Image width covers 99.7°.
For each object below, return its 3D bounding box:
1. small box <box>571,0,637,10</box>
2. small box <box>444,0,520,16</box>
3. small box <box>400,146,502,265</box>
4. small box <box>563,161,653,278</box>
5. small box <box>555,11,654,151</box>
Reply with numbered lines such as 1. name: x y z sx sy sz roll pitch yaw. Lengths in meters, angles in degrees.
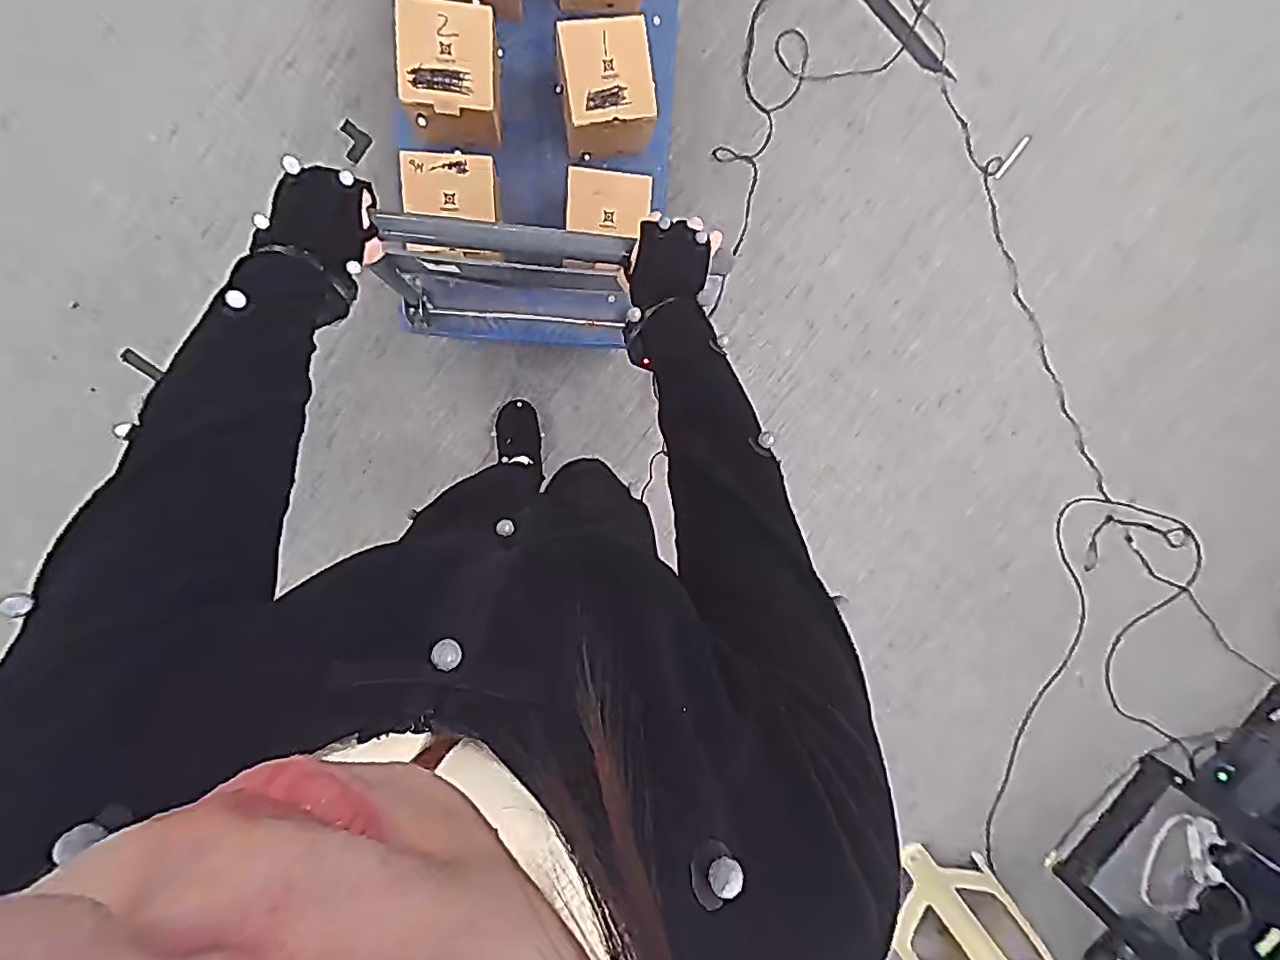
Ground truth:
1. small box: -0.076 -1.056 1.038 0.168 0.176 0.179 -2 100 -9
2. small box: -0.306 -1.025 1.002 0.168 0.176 0.179 3 101 -10
3. small box: -0.368 -0.536 1.081 0.168 0.176 0.179 -2 101 -11
4. small box: -0.074 -0.534 1.134 0.168 0.176 0.179 2 99 -11
5. small box: -0.074 -0.788 1.087 0.168 0.176 0.179 -11 101 -8
